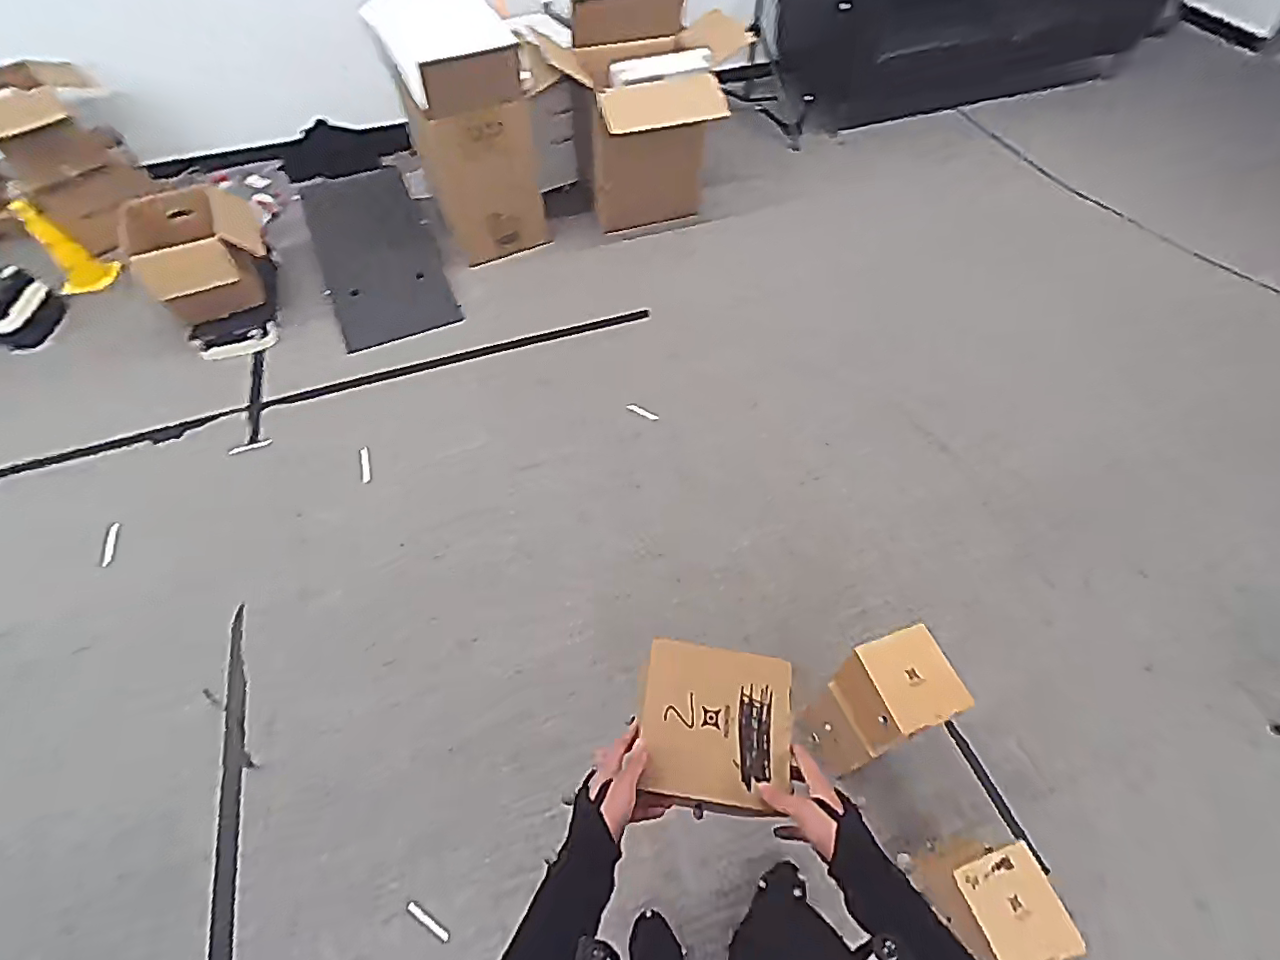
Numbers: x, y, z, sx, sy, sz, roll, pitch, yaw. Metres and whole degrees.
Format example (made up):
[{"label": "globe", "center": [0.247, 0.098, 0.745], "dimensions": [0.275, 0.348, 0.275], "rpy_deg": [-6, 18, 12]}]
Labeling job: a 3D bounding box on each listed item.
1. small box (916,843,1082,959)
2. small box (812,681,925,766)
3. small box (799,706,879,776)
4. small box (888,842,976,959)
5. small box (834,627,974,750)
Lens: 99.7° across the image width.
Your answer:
[{"label": "small box", "center": [0.686, 0.837, 1.057], "dimensions": [0.168, 0.176, 0.179], "rpy_deg": [-14, 59, -9]}, {"label": "small box", "center": [0.529, 0.539, 1.254], "dimensions": [0.179, 0.176, 0.168], "rpy_deg": [-20, 58, -12]}, {"label": "small box", "center": [0.537, 0.634, 1.387], "dimensions": [0.179, 0.176, 0.168], "rpy_deg": [-22, 59, -13]}, {"label": "small box", "center": [0.685, 0.927, 1.194], "dimensions": [0.168, 0.176, 0.179], "rpy_deg": [-16, 59, -9]}, {"label": "small box", "center": [0.535, 0.437, 1.126], "dimensions": [0.168, 0.176, 0.179], "rpy_deg": [-16, 58, -10]}]
